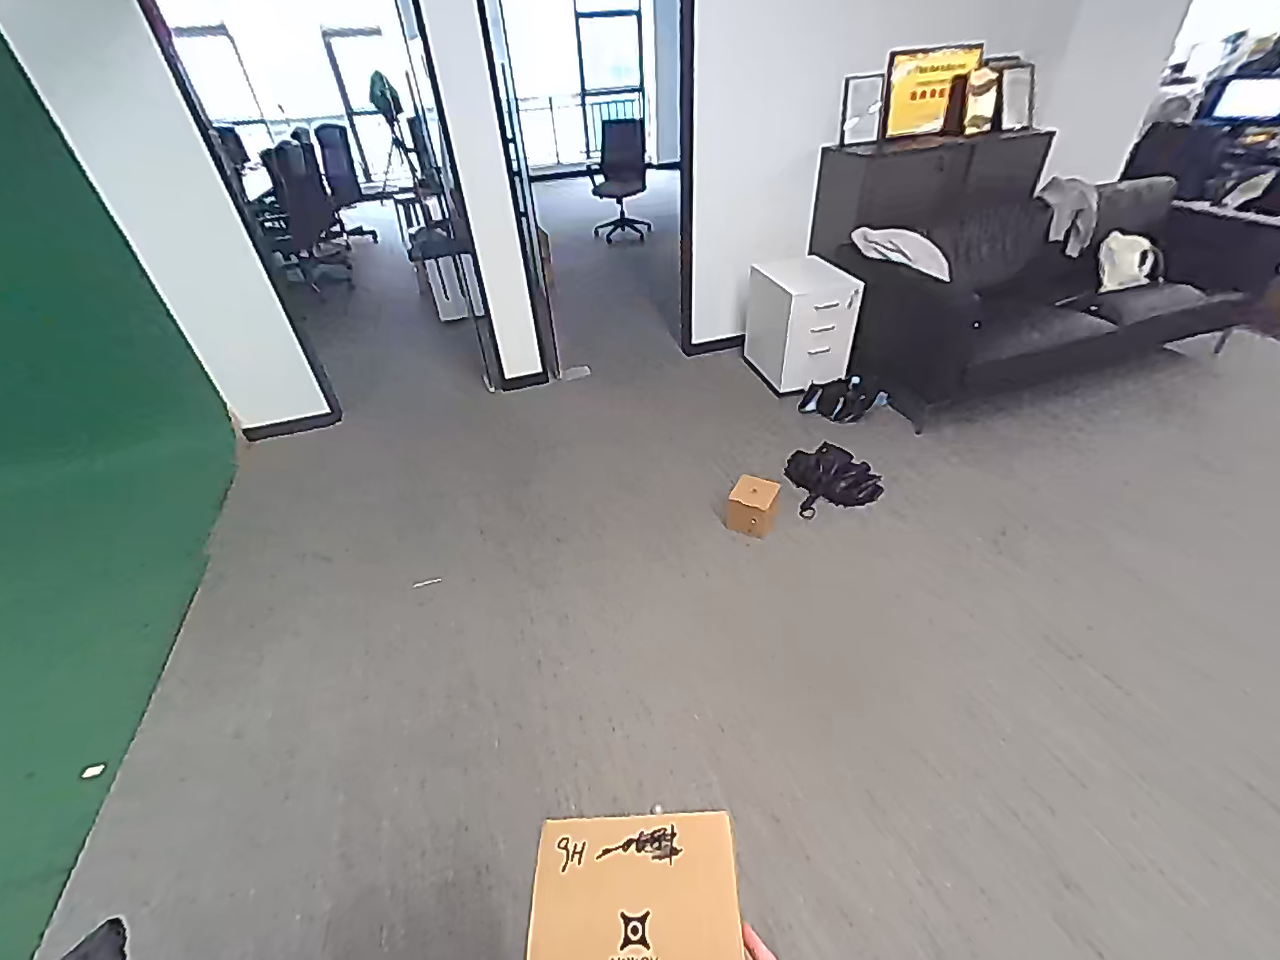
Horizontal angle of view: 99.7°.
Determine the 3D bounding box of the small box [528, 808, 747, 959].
[{"bbox_3d":[0.007,0.403,0.458,0.168,0.176,0.179,-5,42,4],"label":"small box"}]
